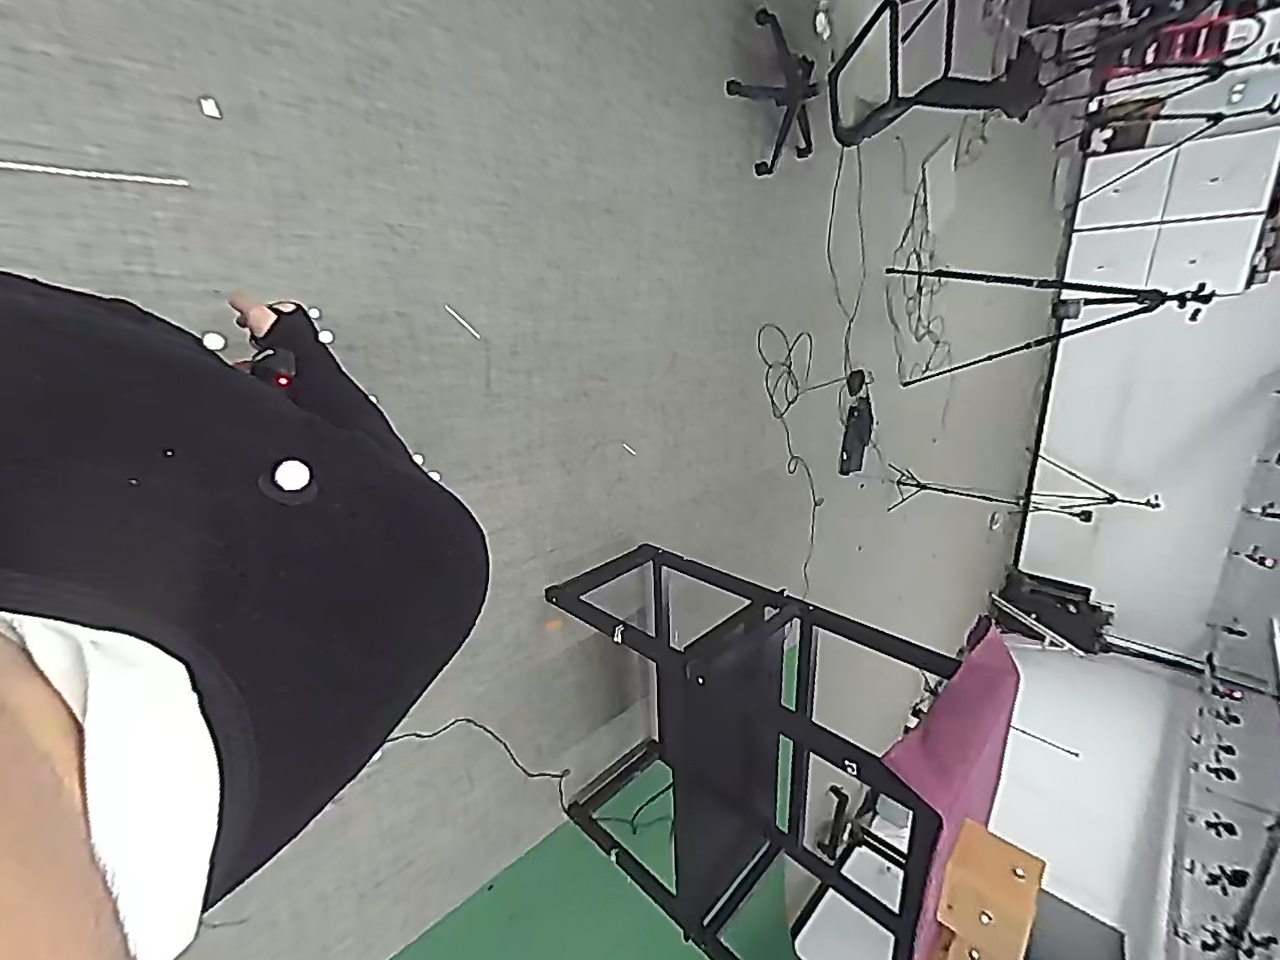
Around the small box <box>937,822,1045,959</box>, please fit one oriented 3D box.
[{"bbox_3d":[0.806,0.950,1.248,0.179,0.176,0.168,-19,114,-43],"label":"small box"}]
